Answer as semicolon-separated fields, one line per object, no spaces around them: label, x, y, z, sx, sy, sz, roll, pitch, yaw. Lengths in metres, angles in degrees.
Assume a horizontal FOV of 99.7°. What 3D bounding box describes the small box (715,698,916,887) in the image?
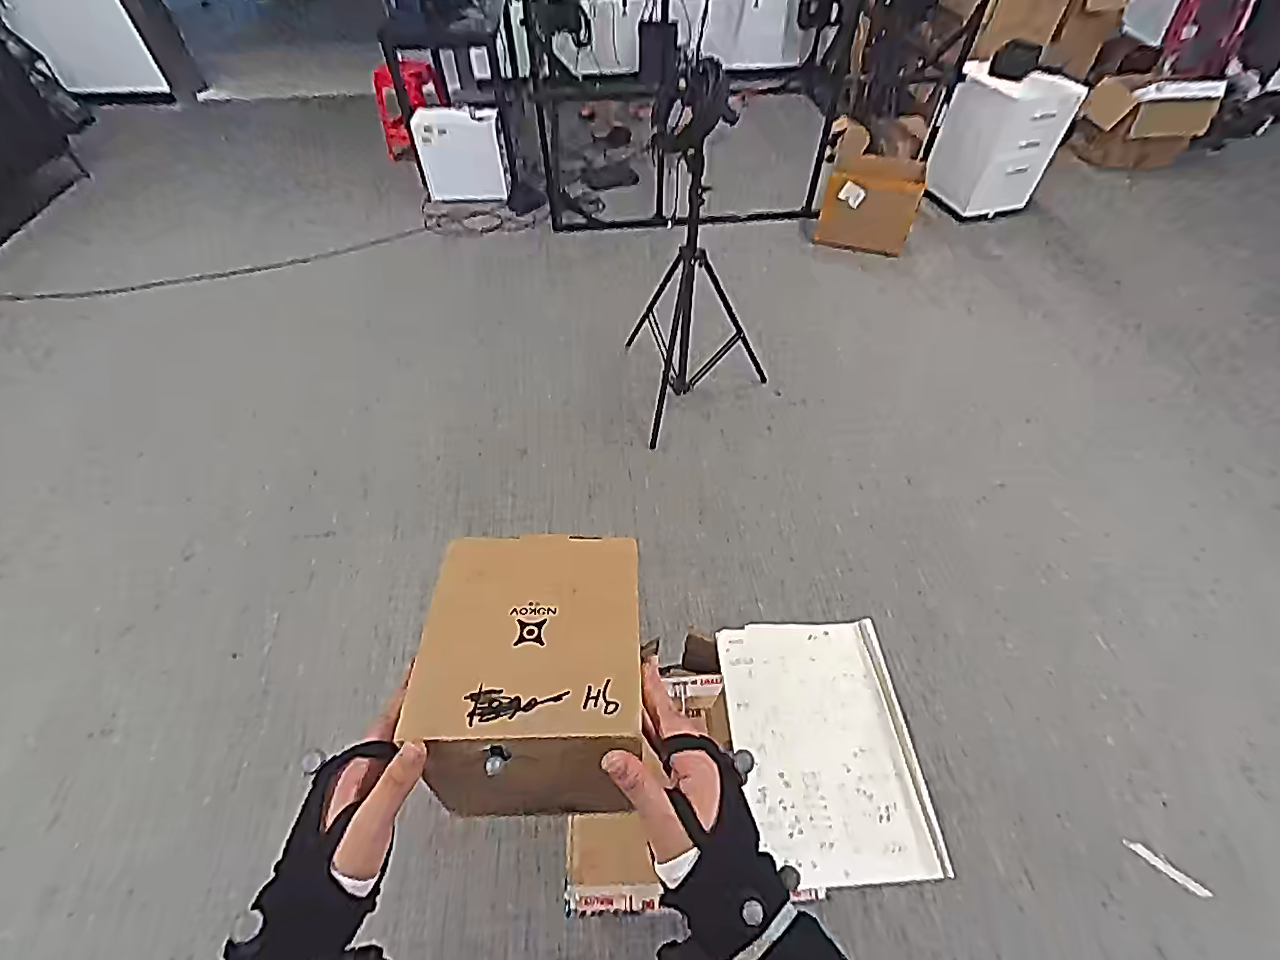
small box;0.193;0.382;0.659;0.168;0.176;0.179;-1;53;-4

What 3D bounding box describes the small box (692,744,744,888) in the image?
small box;0.183;0.482;0.789;0.179;0.176;0.168;-5;52;-6

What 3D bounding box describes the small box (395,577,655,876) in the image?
small box;-0.076;0.201;0.451;0.168;0.176;0.179;0;41;-2
